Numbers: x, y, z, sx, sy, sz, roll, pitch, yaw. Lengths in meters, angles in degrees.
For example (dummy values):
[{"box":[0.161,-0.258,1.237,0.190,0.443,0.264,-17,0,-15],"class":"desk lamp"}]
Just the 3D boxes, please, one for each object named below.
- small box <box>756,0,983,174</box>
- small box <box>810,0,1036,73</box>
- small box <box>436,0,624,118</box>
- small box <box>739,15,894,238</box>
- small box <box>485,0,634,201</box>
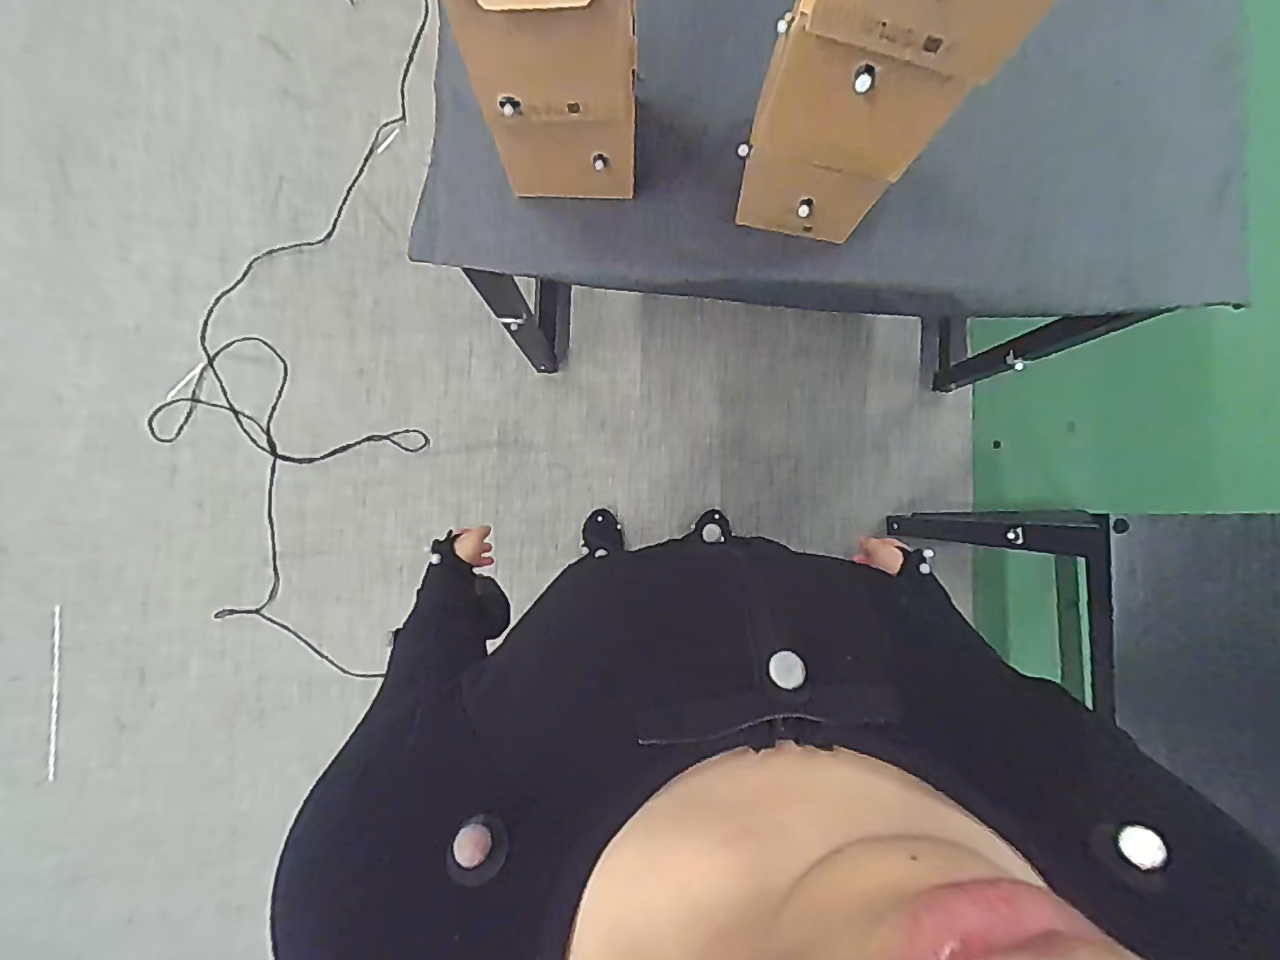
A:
[{"box":[0.237,-0.451,0.554,0.179,0.176,0.168,16,86,2],"class":"small box"},{"box":[0.238,-0.449,0.388,0.168,0.176,0.179,17,86,1],"class":"small box"},{"box":[-0.105,-0.506,0.556,0.168,0.176,0.179,-4,84,-1],"class":"small box"},{"box":[0.234,-0.451,0.717,0.168,0.176,0.179,10,87,1],"class":"small box"},{"box":[-0.096,-0.496,0.720,0.179,0.176,0.168,0,85,1],"class":"small box"}]
